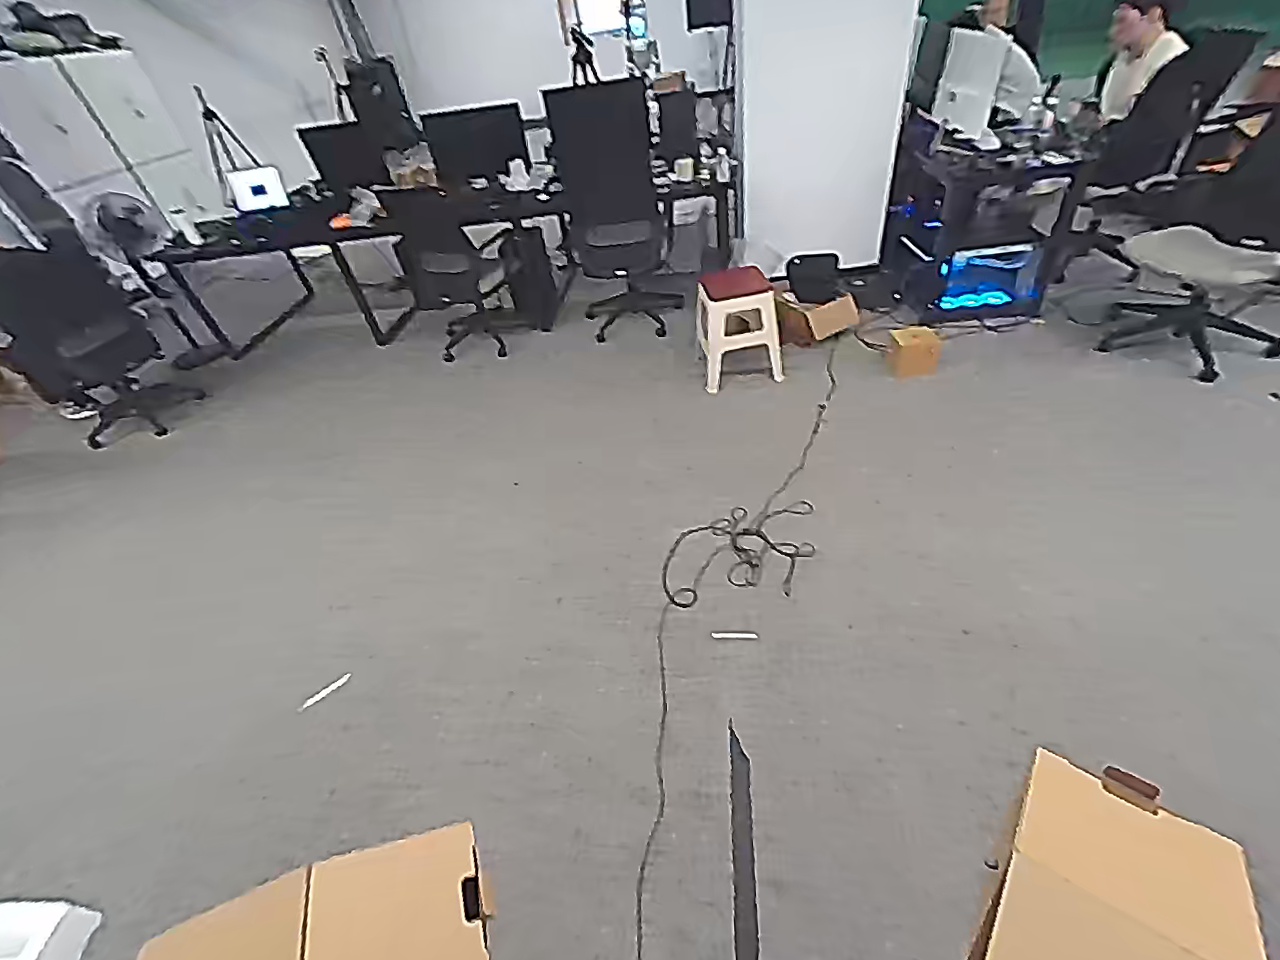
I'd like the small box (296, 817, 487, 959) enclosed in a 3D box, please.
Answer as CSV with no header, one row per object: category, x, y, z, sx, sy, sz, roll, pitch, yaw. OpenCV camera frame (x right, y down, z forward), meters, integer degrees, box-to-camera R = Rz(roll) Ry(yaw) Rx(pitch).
small box,-0.277,0.523,0.606,0.179,0.176,0.168,0,36,-27
